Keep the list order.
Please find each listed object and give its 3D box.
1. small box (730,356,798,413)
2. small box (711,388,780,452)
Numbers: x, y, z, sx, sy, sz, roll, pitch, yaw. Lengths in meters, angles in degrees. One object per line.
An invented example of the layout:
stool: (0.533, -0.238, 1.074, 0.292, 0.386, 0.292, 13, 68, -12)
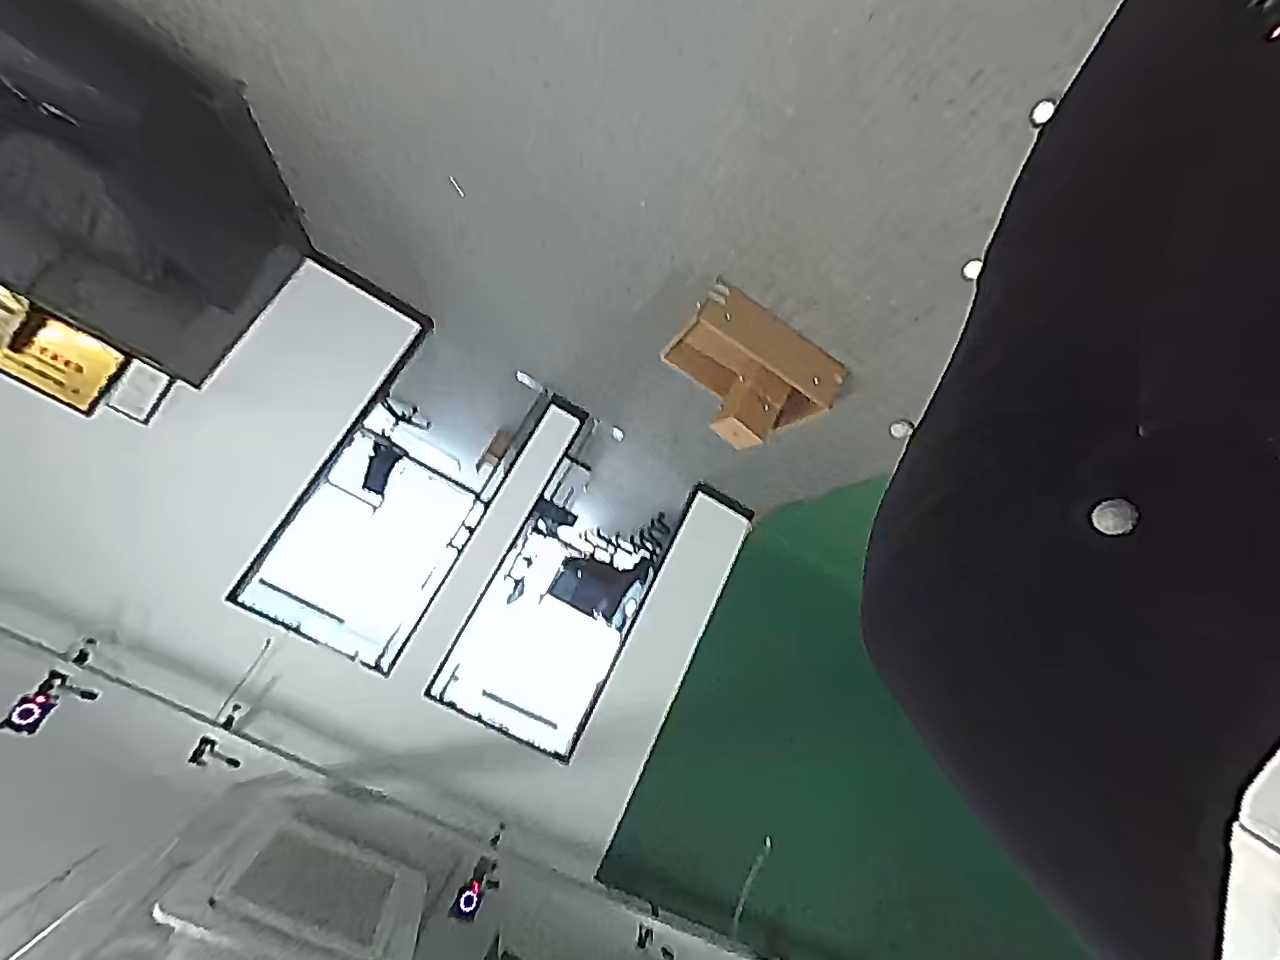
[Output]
small box: (0.500, -0.367, 2.172, 0.168, 0.176, 0.179, 36, 161, -13)
small box: (0.418, -0.234, 2.127, 0.168, 0.176, 0.179, 37, 161, -17)
